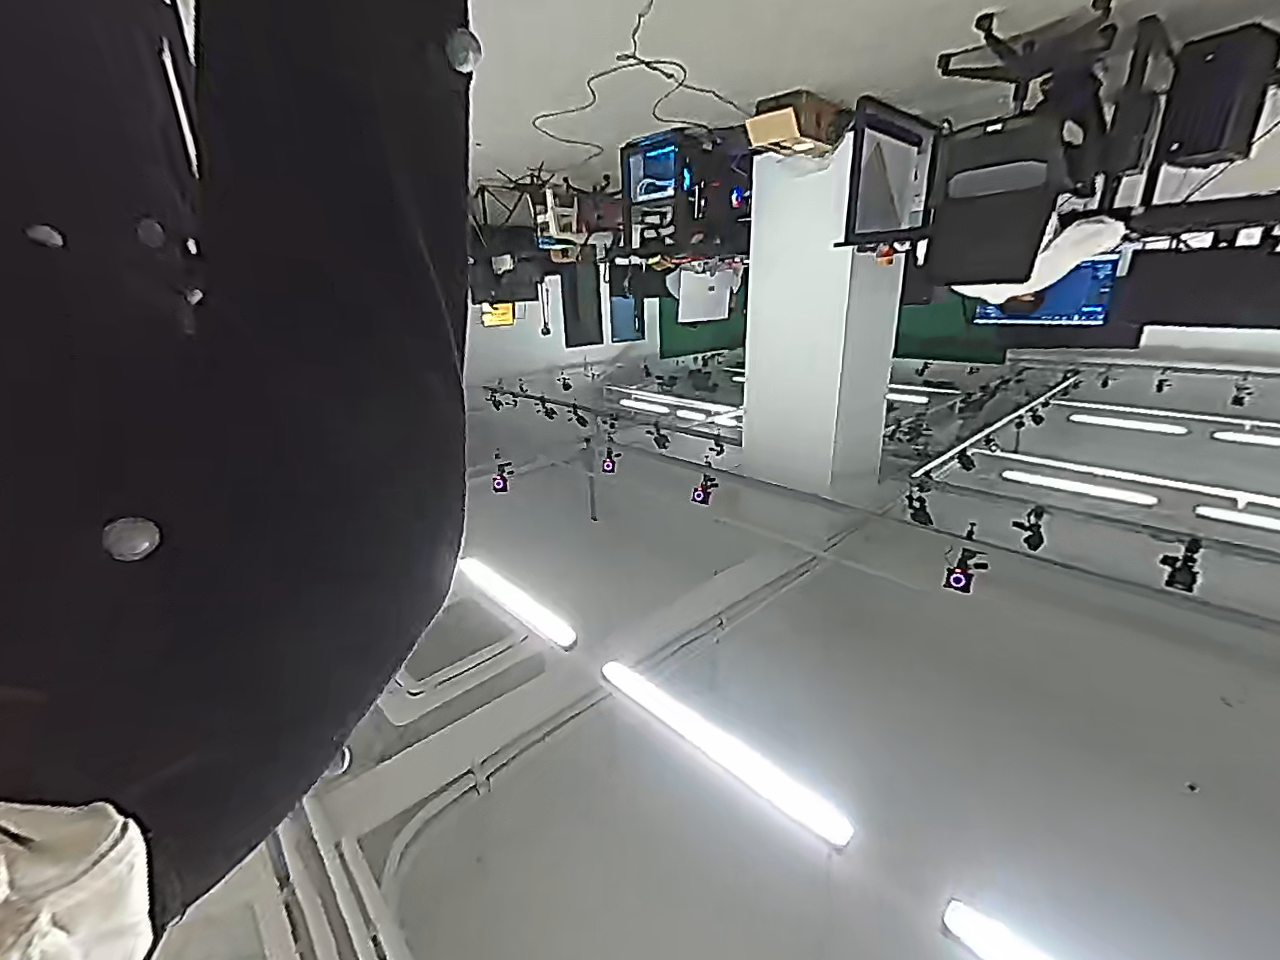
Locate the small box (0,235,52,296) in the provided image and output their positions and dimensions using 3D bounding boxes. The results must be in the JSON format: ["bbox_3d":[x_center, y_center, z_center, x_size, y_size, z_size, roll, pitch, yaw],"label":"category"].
[{"bbox_3d":[-1.985,-0.662,1.676,0.179,0.176,0.168,-17,-154,-38],"label":"small box"}]
